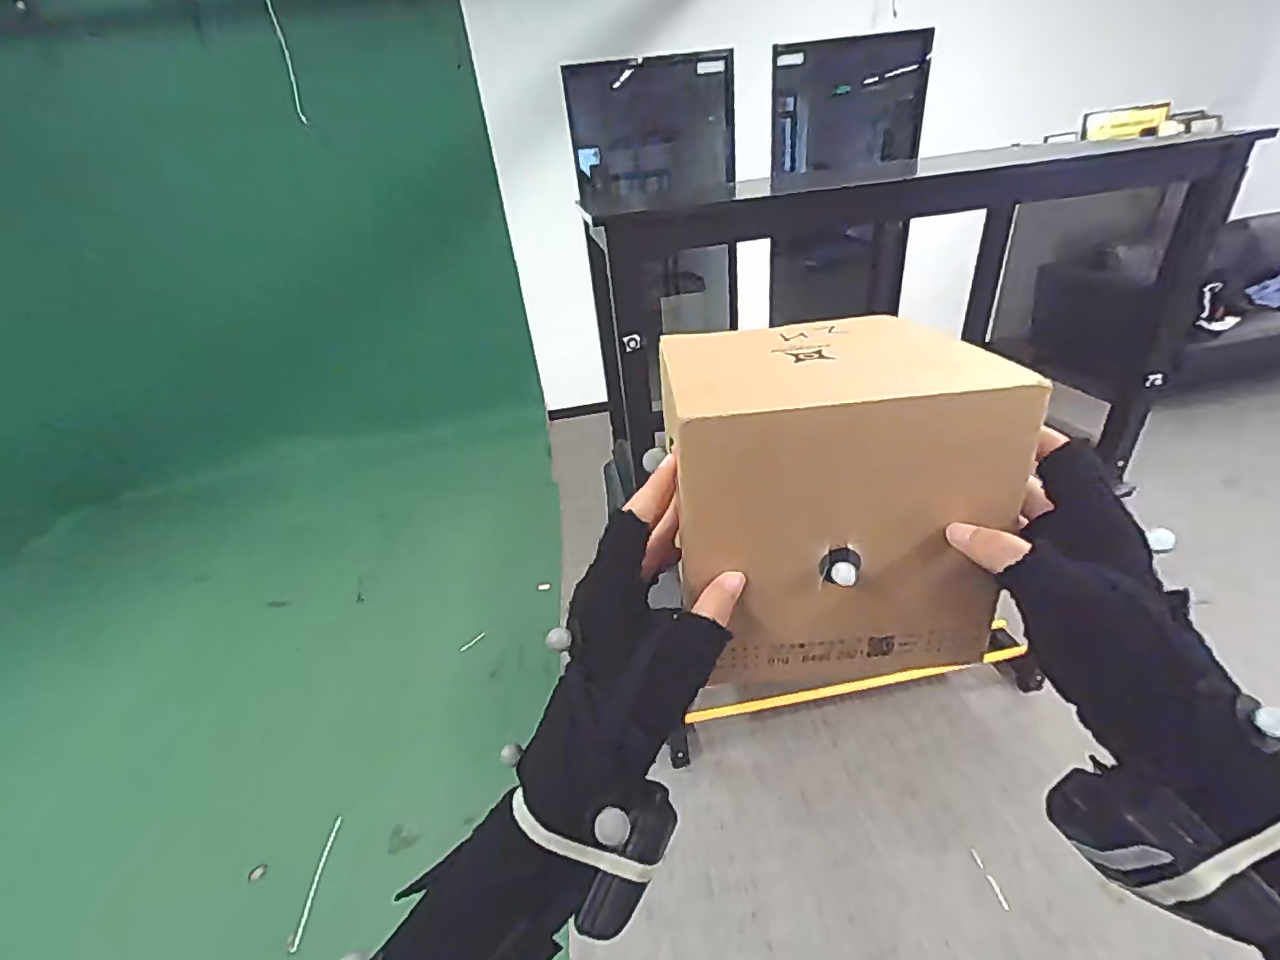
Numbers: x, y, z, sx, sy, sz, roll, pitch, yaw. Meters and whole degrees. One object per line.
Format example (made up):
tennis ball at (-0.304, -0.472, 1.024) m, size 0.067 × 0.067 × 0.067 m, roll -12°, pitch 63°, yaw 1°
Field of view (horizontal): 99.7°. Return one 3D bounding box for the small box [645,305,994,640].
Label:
small box at (0.093, -0.010, 0.360) m, size 0.168 × 0.176 × 0.179 m, roll -5°, pitch 25°, yaw 2°
